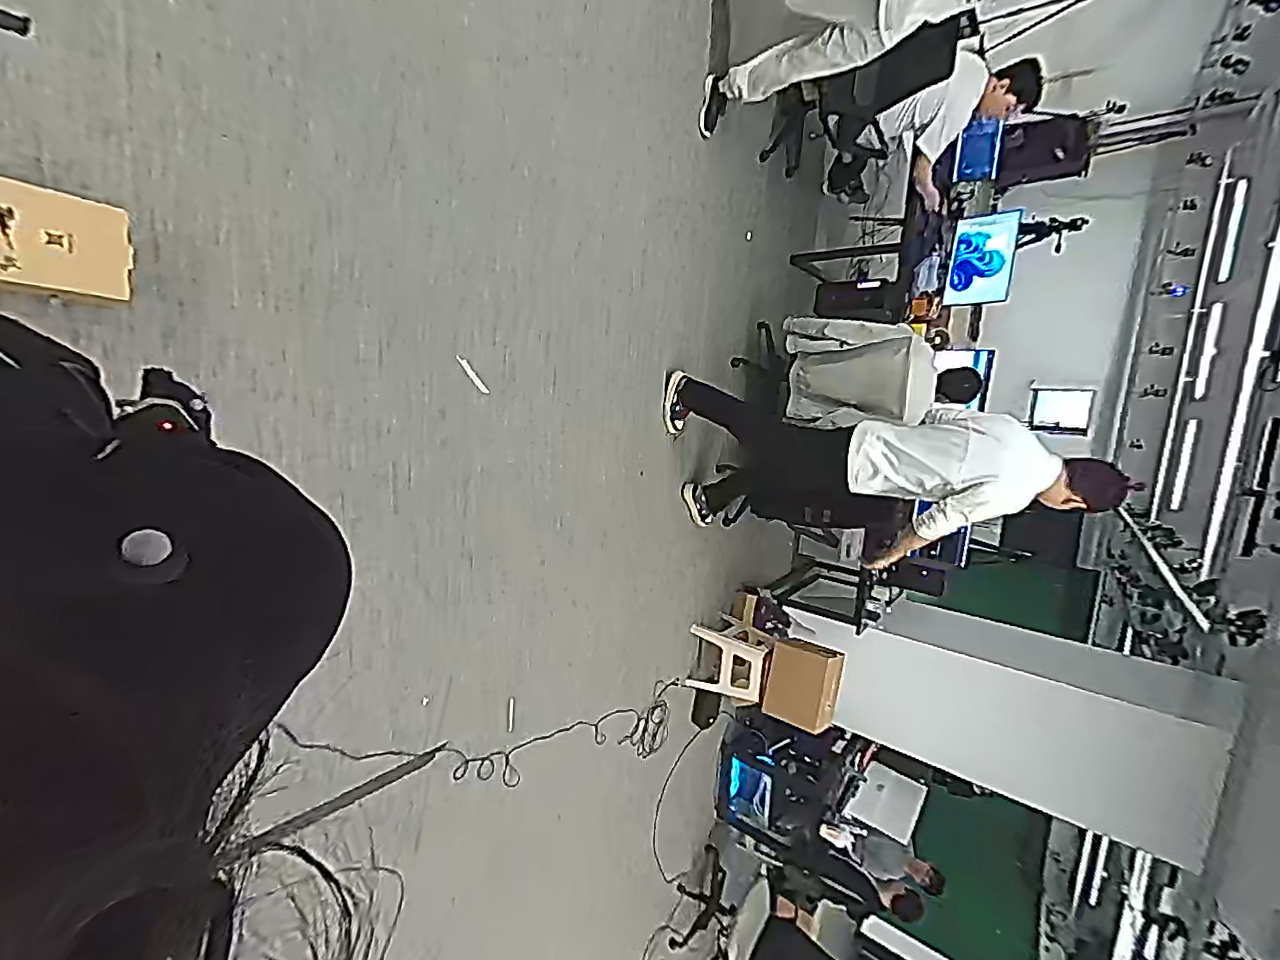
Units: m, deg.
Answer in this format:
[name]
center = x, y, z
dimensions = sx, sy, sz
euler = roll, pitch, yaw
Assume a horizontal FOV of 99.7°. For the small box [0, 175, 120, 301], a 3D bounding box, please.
[small box]
center = -1.072, -0.424, 0.966
dimensions = 0.179, 0.176, 0.168
euler = -2, 100, -54
